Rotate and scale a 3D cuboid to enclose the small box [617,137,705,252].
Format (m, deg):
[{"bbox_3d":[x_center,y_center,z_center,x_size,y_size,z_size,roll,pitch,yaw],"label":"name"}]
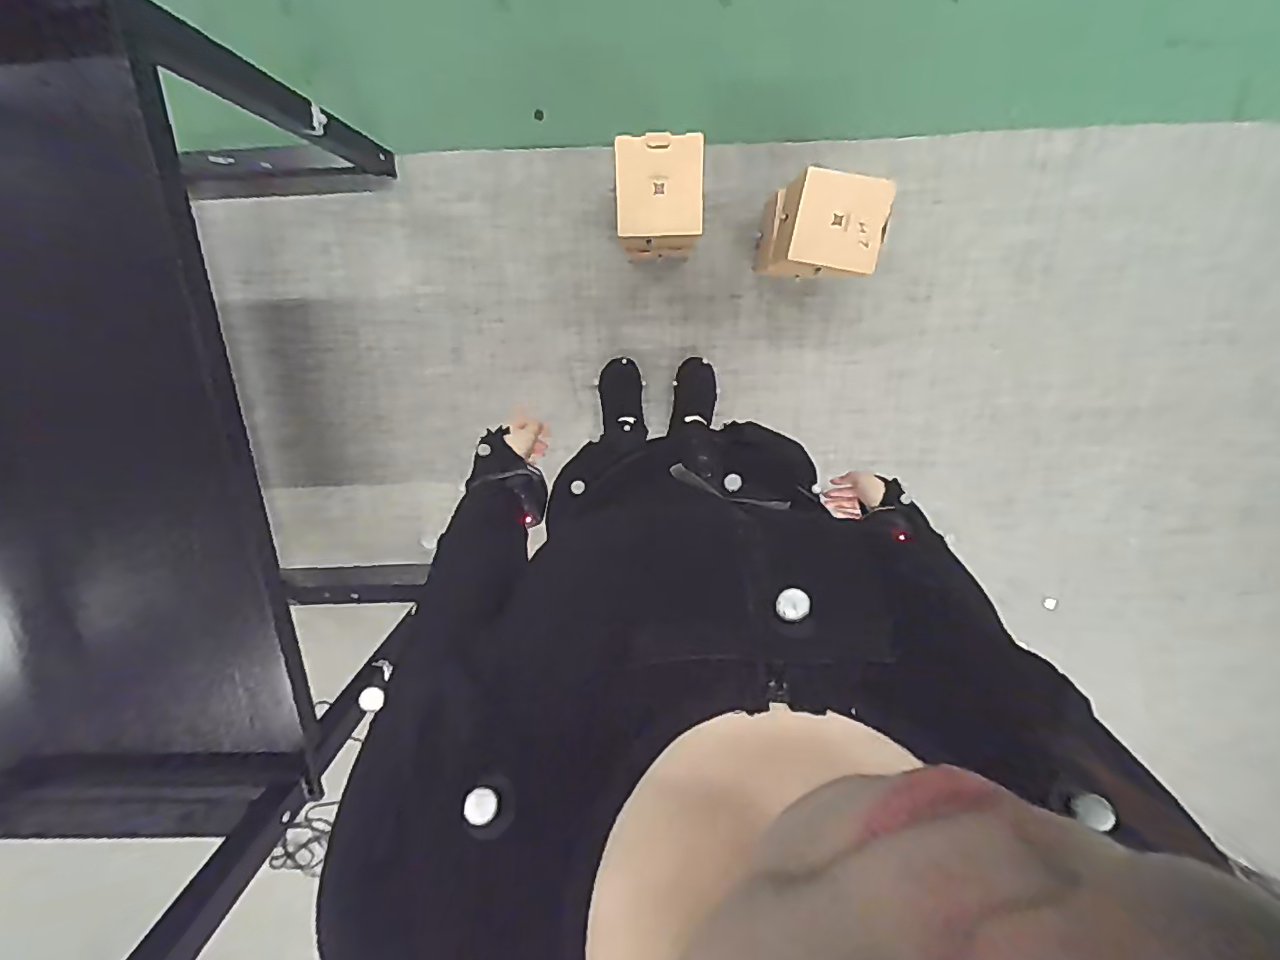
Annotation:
[{"bbox_3d":[0.044,-0.562,1.086,0.168,0.176,0.179,-2,105,3],"label":"small box"}]

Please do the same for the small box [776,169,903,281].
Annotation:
[{"bbox_3d":[0.388,-0.503,1.090,0.179,0.176,0.168,9,107,-1],"label":"small box"}]

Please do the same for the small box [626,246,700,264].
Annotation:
[{"bbox_3d":[0.051,-0.599,1.245,0.168,0.176,0.179,-3,106,3],"label":"small box"}]
